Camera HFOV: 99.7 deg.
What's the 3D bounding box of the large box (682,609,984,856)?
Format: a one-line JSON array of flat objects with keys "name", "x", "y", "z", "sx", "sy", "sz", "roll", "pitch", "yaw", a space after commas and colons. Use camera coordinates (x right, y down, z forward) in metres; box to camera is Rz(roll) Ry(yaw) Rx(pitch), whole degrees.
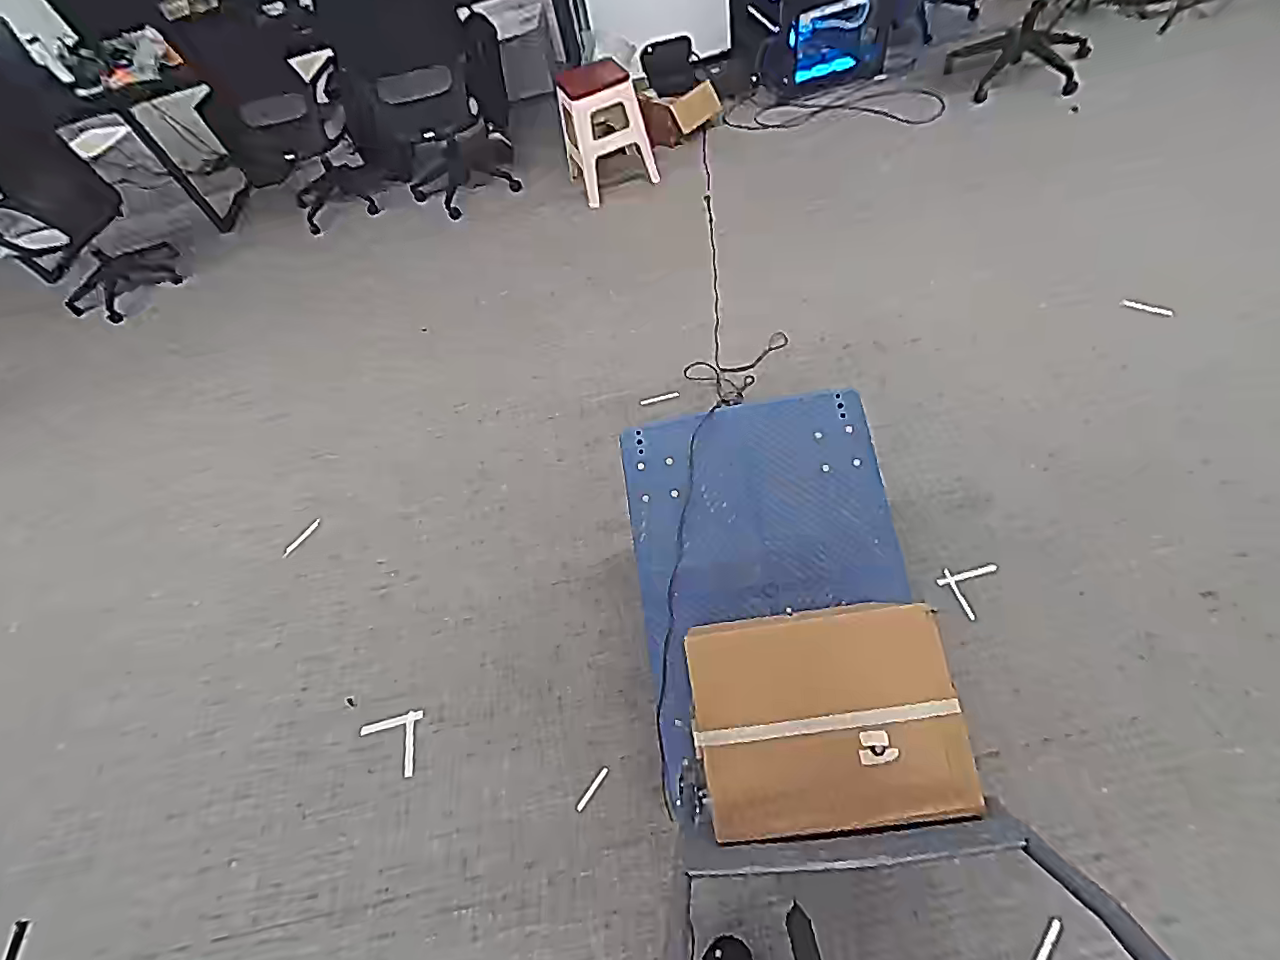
[{"name": "large box", "x": 0.305, "y": 0.423, "z": 0.985, "sx": 0.408, "sy": 0.320, "sz": 0.320, "roll": -10, "pitch": 77, "yaw": 5}]
